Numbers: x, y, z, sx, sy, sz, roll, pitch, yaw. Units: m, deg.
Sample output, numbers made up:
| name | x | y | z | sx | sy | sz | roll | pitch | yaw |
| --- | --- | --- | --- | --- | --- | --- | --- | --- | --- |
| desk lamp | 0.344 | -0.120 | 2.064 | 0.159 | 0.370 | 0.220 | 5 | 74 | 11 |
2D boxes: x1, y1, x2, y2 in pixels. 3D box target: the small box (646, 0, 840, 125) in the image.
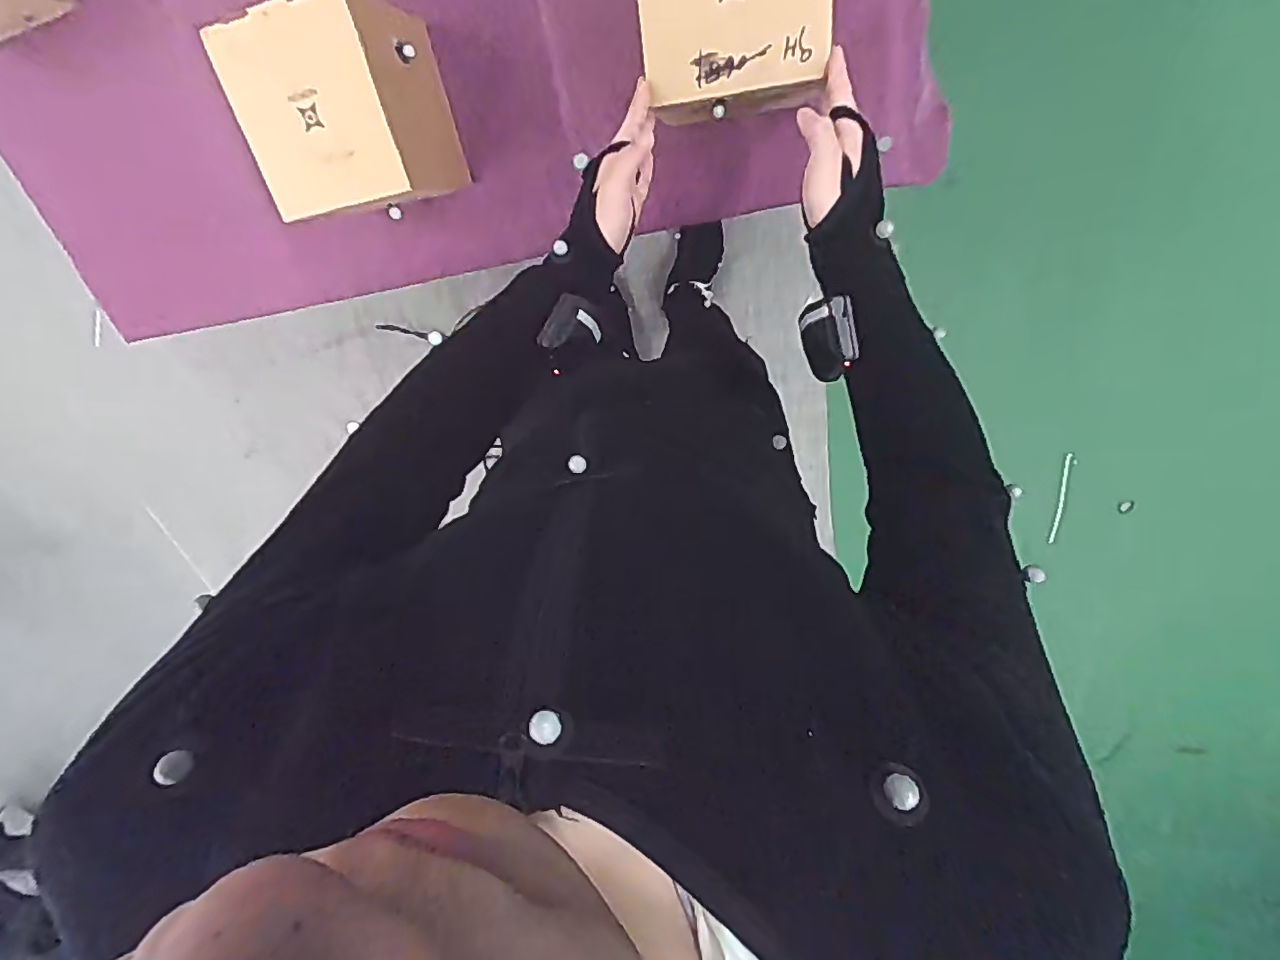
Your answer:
| name | x | y | z | sx | sy | sz | roll | pitch | yaw |
| --- | --- | --- | --- | --- | --- | --- | --- | --- | --- |
| small box | 0.094 | -0.462 | 0.520 | 0.168 | 0.176 | 0.179 | -2 | 119 | 10 |

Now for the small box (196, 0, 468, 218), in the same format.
| name | x | y | z | sx | sy | sz | roll | pitch | yaw |
| --- | --- | --- | --- | --- | --- | --- | --- | --- | --- |
| small box | -0.322 | -0.407 | 0.608 | 0.168 | 0.176 | 0.179 | -6 | 118 | 11 |

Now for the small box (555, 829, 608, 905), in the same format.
| name | x | y | z | sx | sy | sz | roll | pitch | yaw |
| --- | --- | --- | --- | --- | --- | --- | --- | --- | --- |
| small box | -0.214 | 1.452 | 2.033 | 0.168 | 0.176 | 0.179 | 3 | 120 | 5 |
